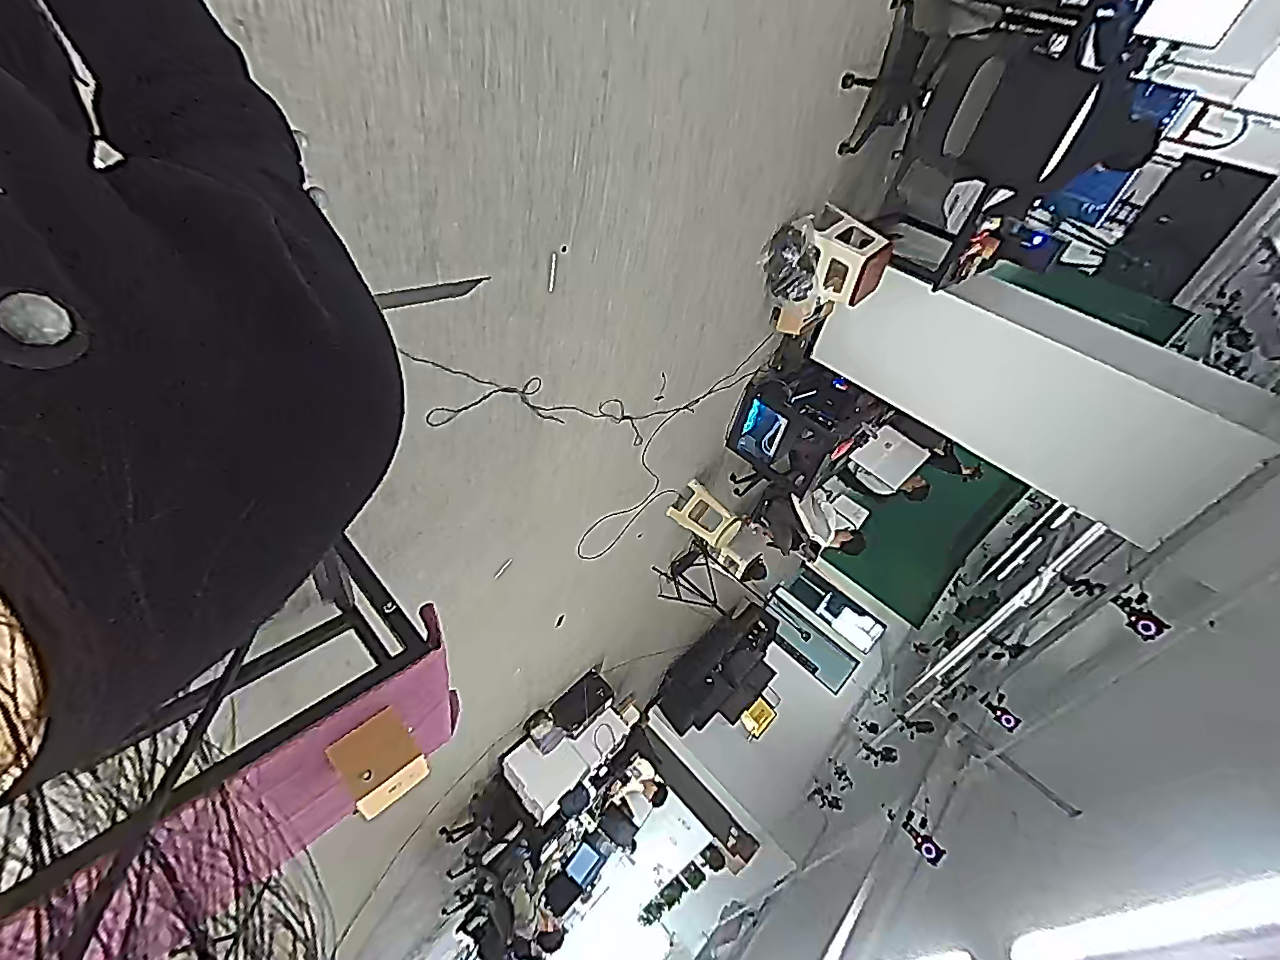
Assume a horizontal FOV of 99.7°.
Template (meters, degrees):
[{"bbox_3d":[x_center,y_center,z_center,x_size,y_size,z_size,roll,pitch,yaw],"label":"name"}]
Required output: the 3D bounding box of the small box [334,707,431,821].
[{"bbox_3d":[-0.681,0.745,1.426,0.179,0.176,0.168,-31,150,-36],"label":"small box"}]
